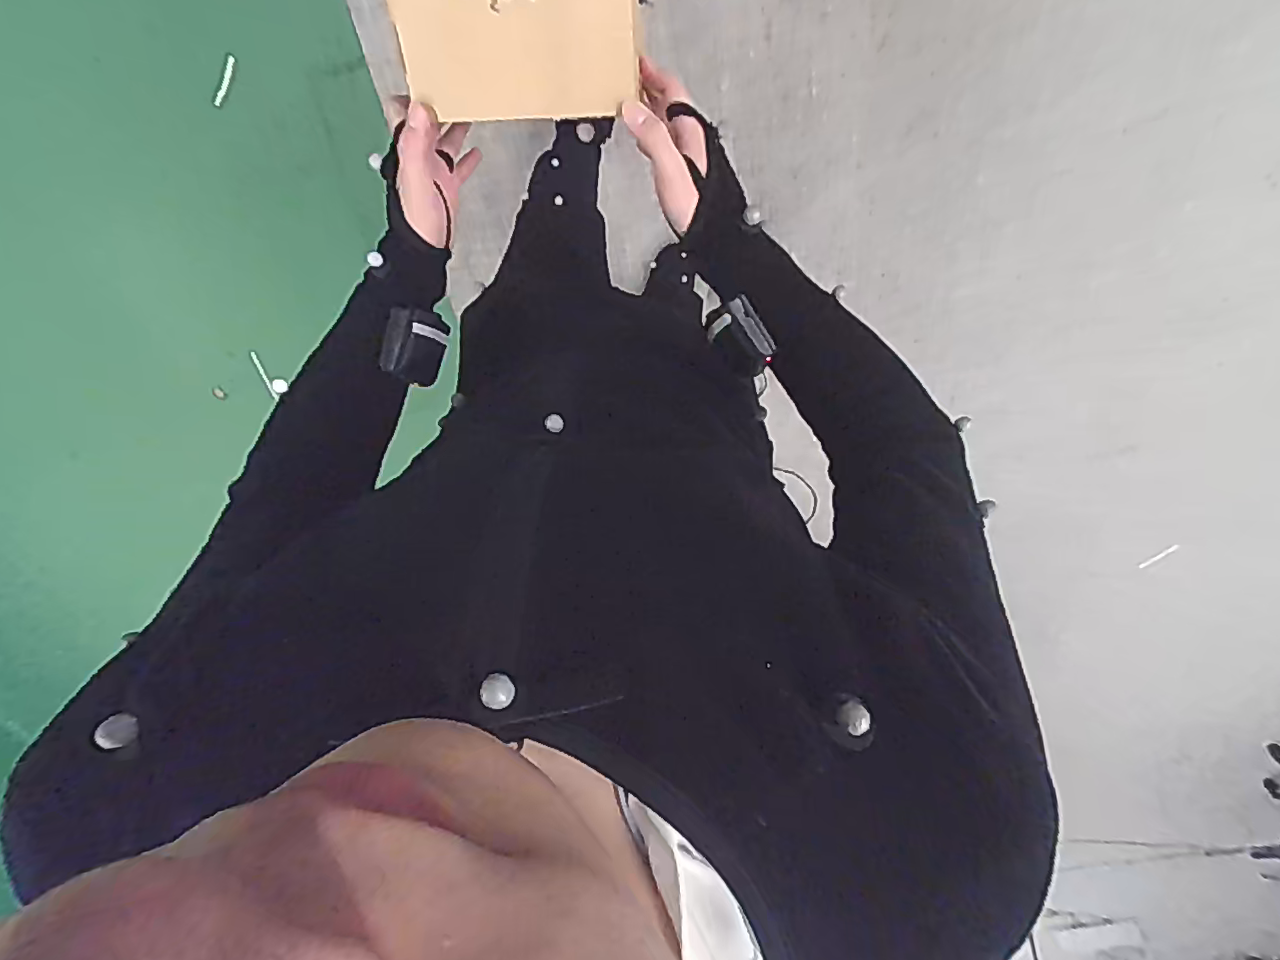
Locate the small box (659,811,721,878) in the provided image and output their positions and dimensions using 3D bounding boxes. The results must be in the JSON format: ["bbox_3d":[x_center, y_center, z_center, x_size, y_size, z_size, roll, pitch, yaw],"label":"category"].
[{"bbox_3d":[0.146,1.119,1.625,0.179,0.176,0.168,0,125,3],"label":"small box"}]

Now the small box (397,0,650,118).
[{"bbox_3d":[-0.081,-0.395,0.433,0.179,0.176,0.168,1,126,4],"label":"small box"}]

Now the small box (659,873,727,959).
[{"bbox_3d":[0.142,1.211,1.490,0.179,0.176,0.168,-1,125,4],"label":"small box"}]
